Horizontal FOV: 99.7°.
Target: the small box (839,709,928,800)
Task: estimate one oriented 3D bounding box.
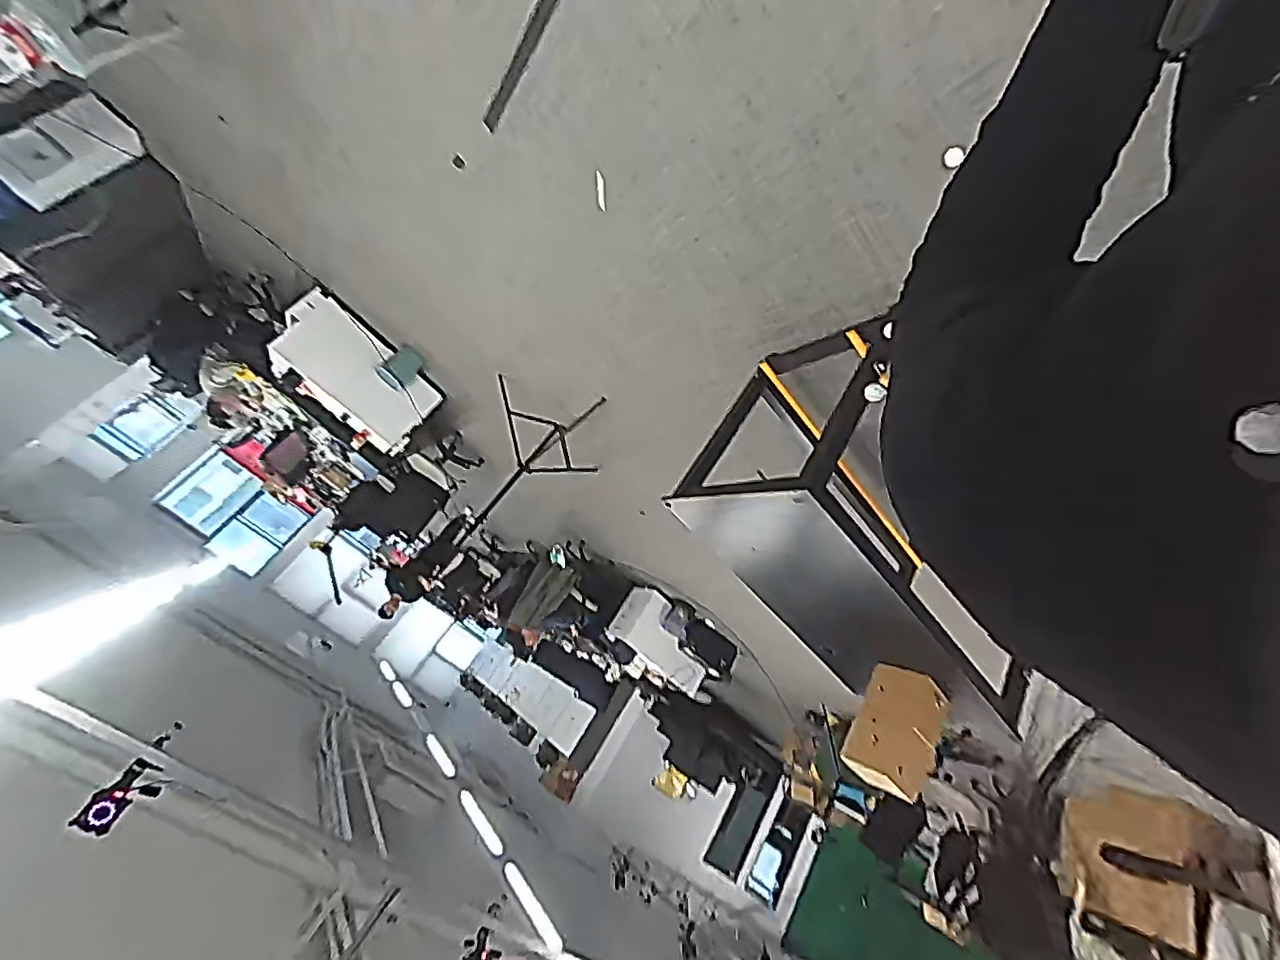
[{"bbox_3d":[0.756,0.843,1.676,0.179,0.176,0.168,45,156,-24],"label":"small box"}]

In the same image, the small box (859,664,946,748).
[{"bbox_3d":[0.844,0.716,1.733,0.168,0.176,0.179,45,154,-24],"label":"small box"}]
